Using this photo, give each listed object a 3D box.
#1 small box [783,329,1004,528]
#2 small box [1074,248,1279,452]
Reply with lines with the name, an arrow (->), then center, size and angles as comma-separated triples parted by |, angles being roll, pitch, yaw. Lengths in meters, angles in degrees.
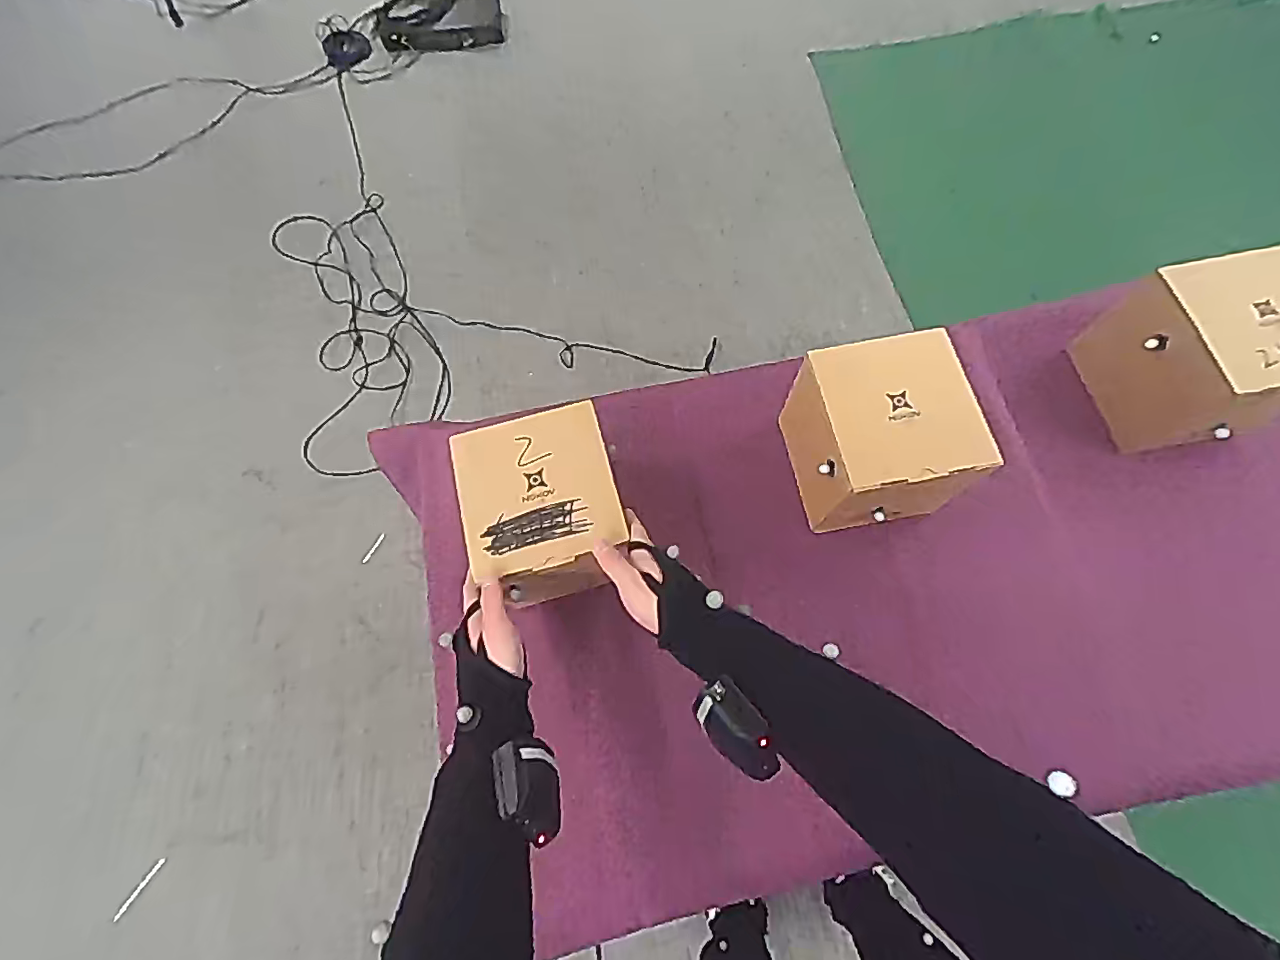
small box -> 0.289, -0.055, 0.665 | 0.168, 0.176, 0.179 | -10, 71, -2
small box -> 0.706, -0.155, 0.679 | 0.168, 0.176, 0.179 | -10, 71, 1
